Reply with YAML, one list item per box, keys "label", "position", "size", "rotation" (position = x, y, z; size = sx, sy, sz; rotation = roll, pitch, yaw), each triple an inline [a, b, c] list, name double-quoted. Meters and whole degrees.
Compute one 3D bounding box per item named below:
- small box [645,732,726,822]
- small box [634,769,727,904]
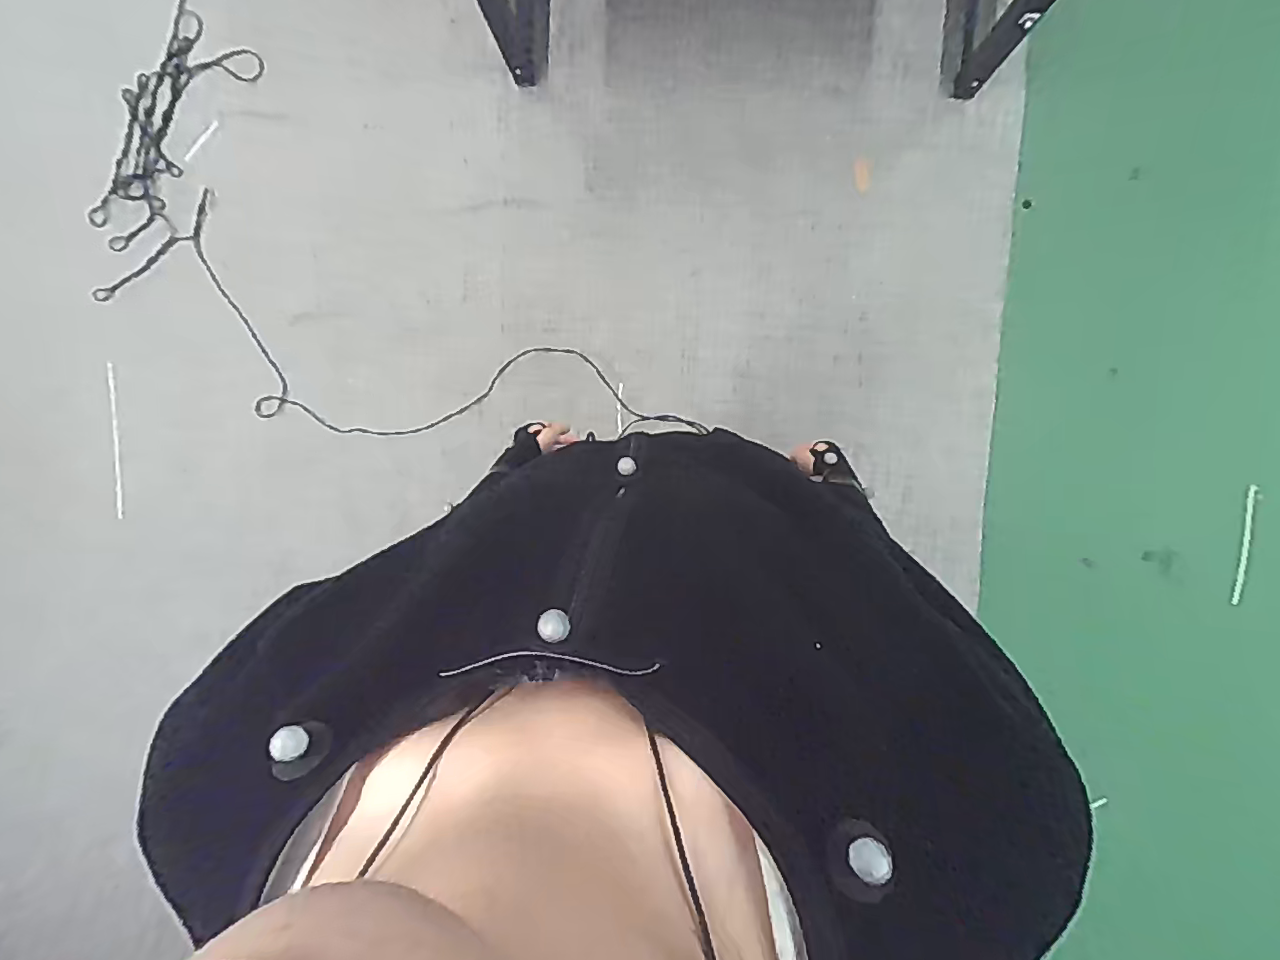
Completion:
- label: "small box"
  position: [0.107, 0.712, 1.265]
  size: [0.179, 0.176, 0.168]
  rotation: [-1, 92, 7]
- label: "small box"
  position: [0.084, 0.715, 1.103]
  size: [0.179, 0.176, 0.168]
  rotation: [-1, 91, 7]
